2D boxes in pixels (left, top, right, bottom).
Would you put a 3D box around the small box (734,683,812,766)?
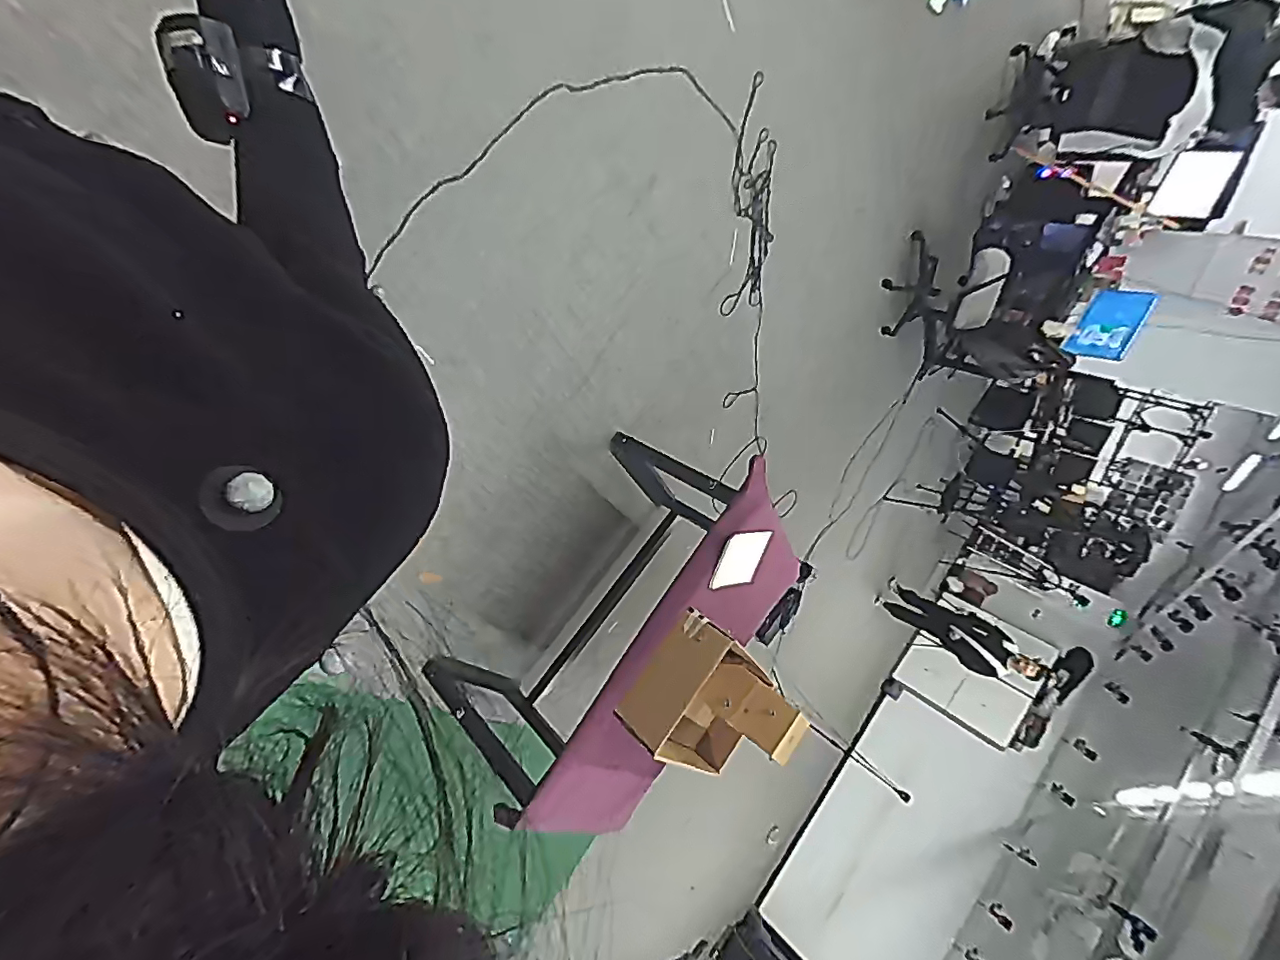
[{"bbox_3d":[0.429,0.787,1.751,0.168,0.176,0.179,-51,139,-13],"label":"small box"}]
